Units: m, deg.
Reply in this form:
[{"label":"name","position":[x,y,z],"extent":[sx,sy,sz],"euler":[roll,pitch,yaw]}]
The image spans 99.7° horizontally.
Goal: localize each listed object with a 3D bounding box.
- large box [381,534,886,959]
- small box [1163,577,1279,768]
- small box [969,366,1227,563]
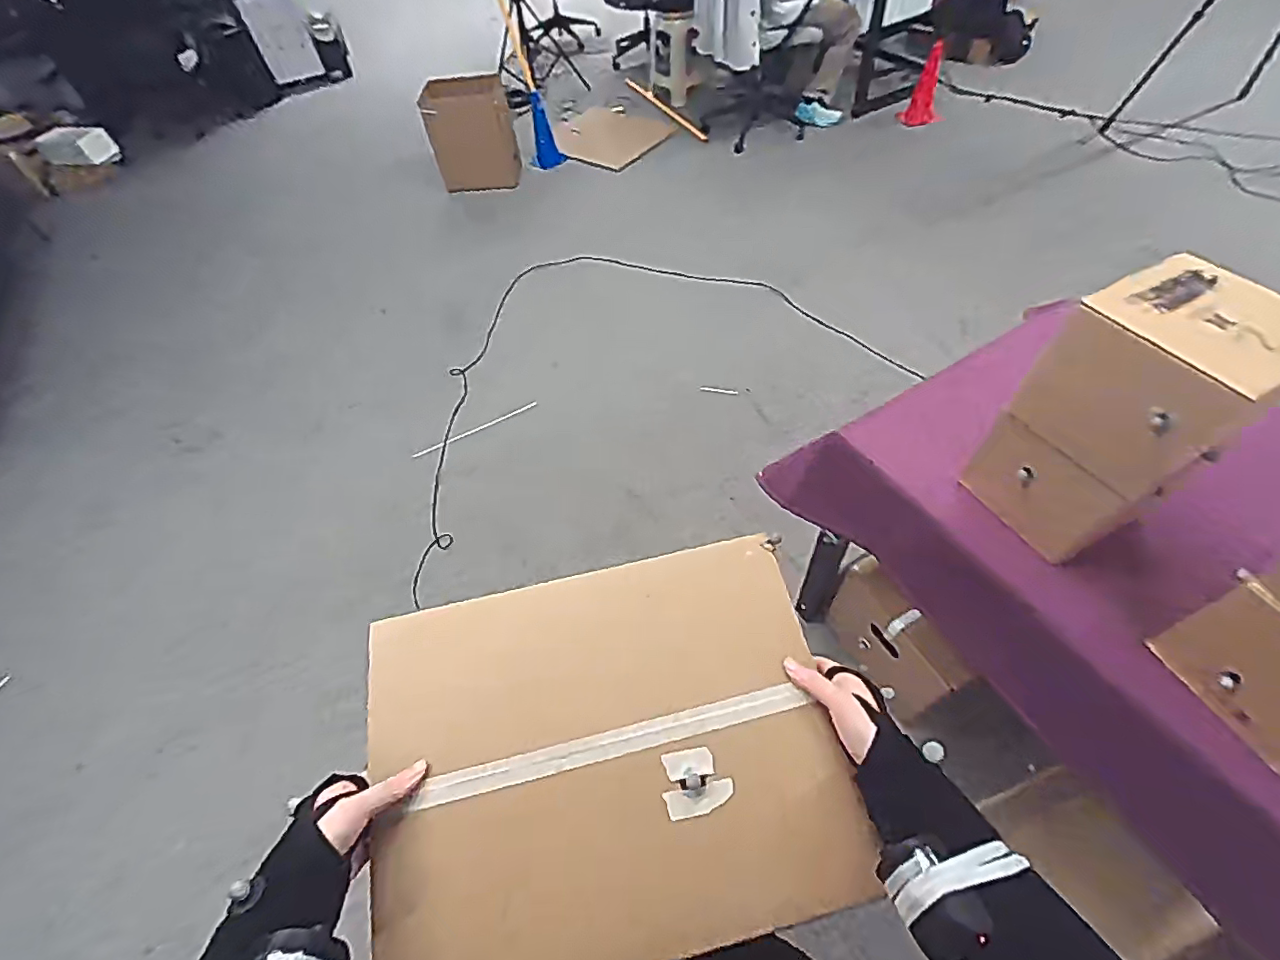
[{"label":"large box","position":[-0.026,0.299,0.613],"extent":[0.408,0.320,0.320],"euler":[-12,64,-6]},{"label":"small box","position":[0.740,0.186,0.577],"extent":[0.179,0.176,0.168],"euler":[-22,54,-8]},{"label":"small box","position":[0.600,-0.019,0.742],"extent":[0.168,0.176,0.179],"euler":[-26,54,-11]}]
